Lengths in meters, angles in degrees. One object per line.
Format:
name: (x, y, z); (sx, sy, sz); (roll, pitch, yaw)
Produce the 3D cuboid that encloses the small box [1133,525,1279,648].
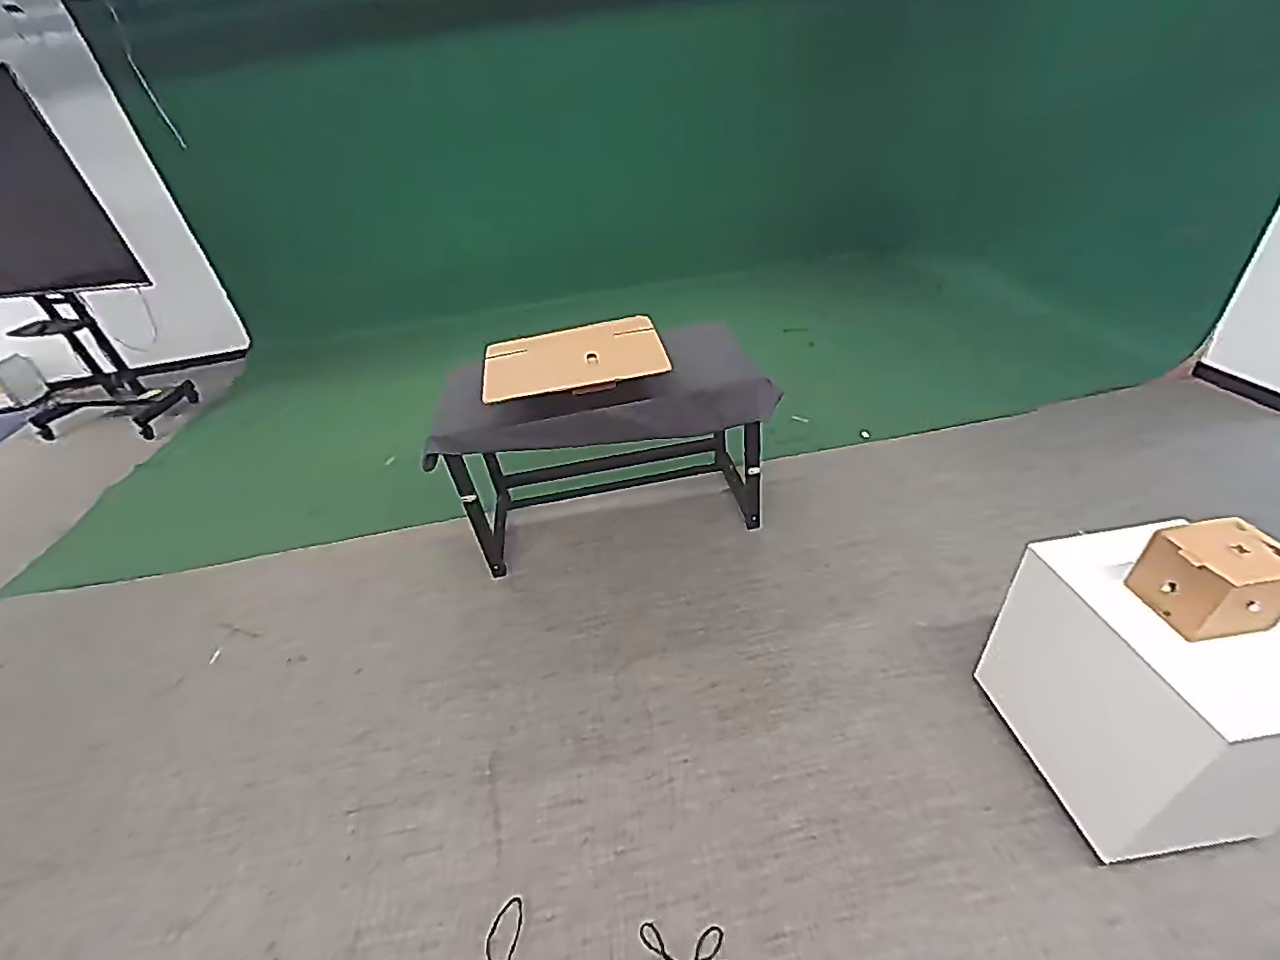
small box: (1.166, 0.219, 1.102); (0.179, 0.176, 0.168); (-10, 35, -3)
